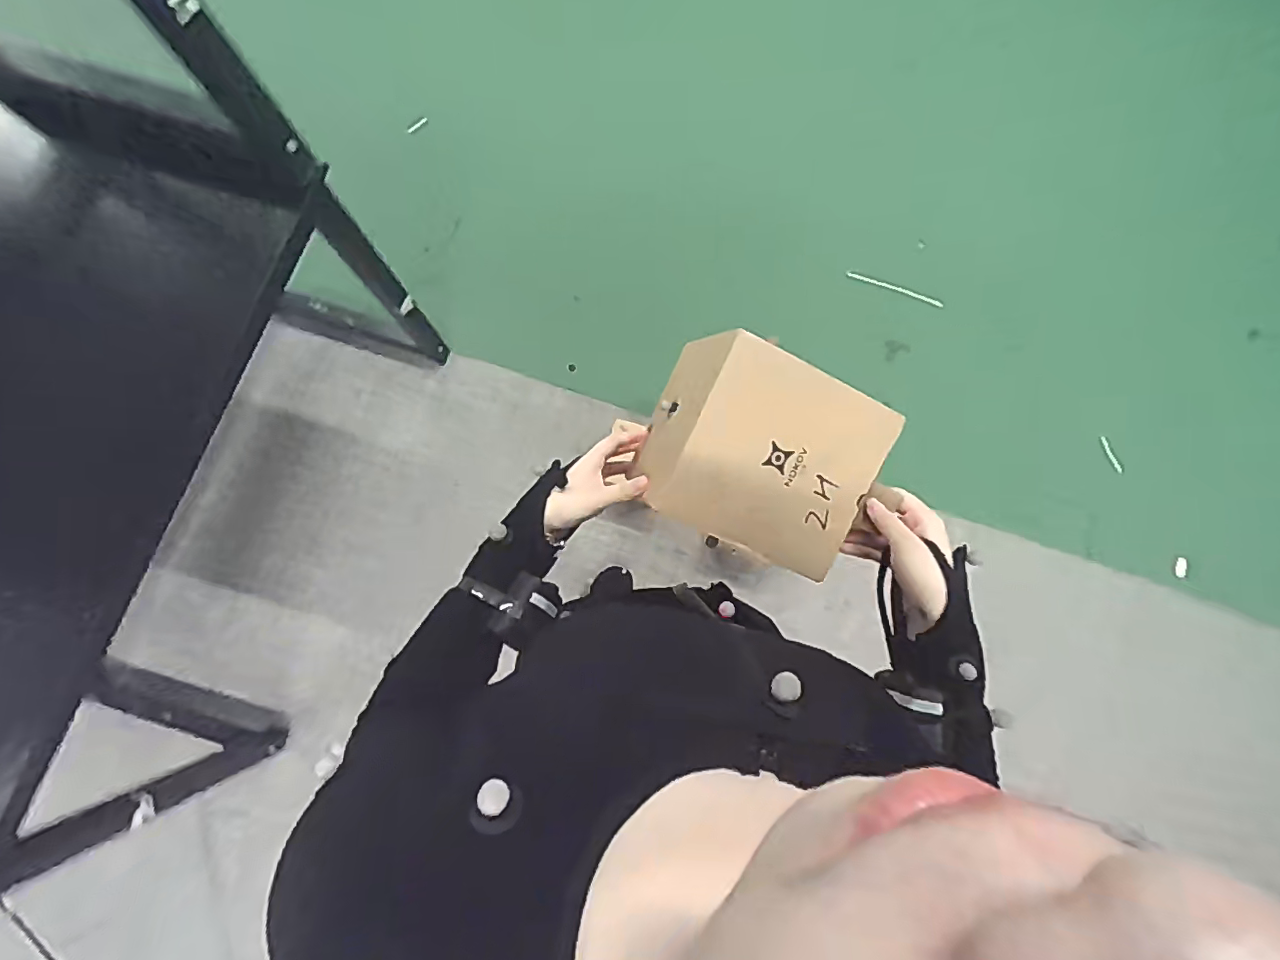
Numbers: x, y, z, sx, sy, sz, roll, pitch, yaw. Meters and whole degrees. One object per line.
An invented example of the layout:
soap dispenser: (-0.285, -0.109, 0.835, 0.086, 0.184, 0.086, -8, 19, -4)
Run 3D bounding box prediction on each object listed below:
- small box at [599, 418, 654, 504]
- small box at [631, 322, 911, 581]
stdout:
small box: (-0.004, -0.044, 1.472, 0.168, 0.176, 0.179, 17, 80, 2)
small box: (0.107, -0.032, 0.523, 0.179, 0.176, 0.168, 24, 97, -14)
